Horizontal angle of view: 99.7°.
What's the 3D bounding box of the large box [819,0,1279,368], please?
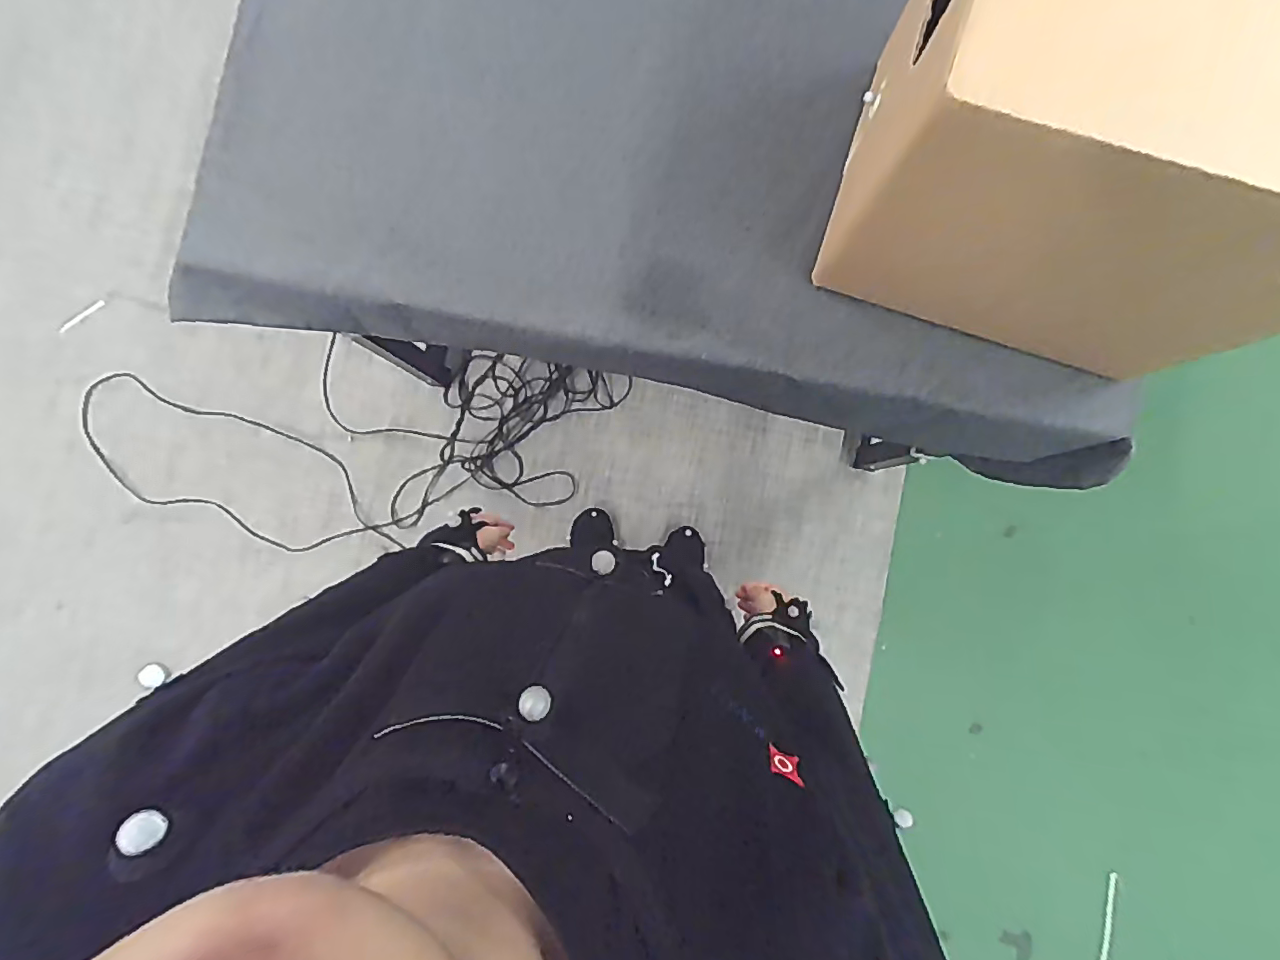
[{"bbox_3d":[0.447,-0.344,0.526,0.408,0.320,0.320,18,87,1],"label":"large box"}]
